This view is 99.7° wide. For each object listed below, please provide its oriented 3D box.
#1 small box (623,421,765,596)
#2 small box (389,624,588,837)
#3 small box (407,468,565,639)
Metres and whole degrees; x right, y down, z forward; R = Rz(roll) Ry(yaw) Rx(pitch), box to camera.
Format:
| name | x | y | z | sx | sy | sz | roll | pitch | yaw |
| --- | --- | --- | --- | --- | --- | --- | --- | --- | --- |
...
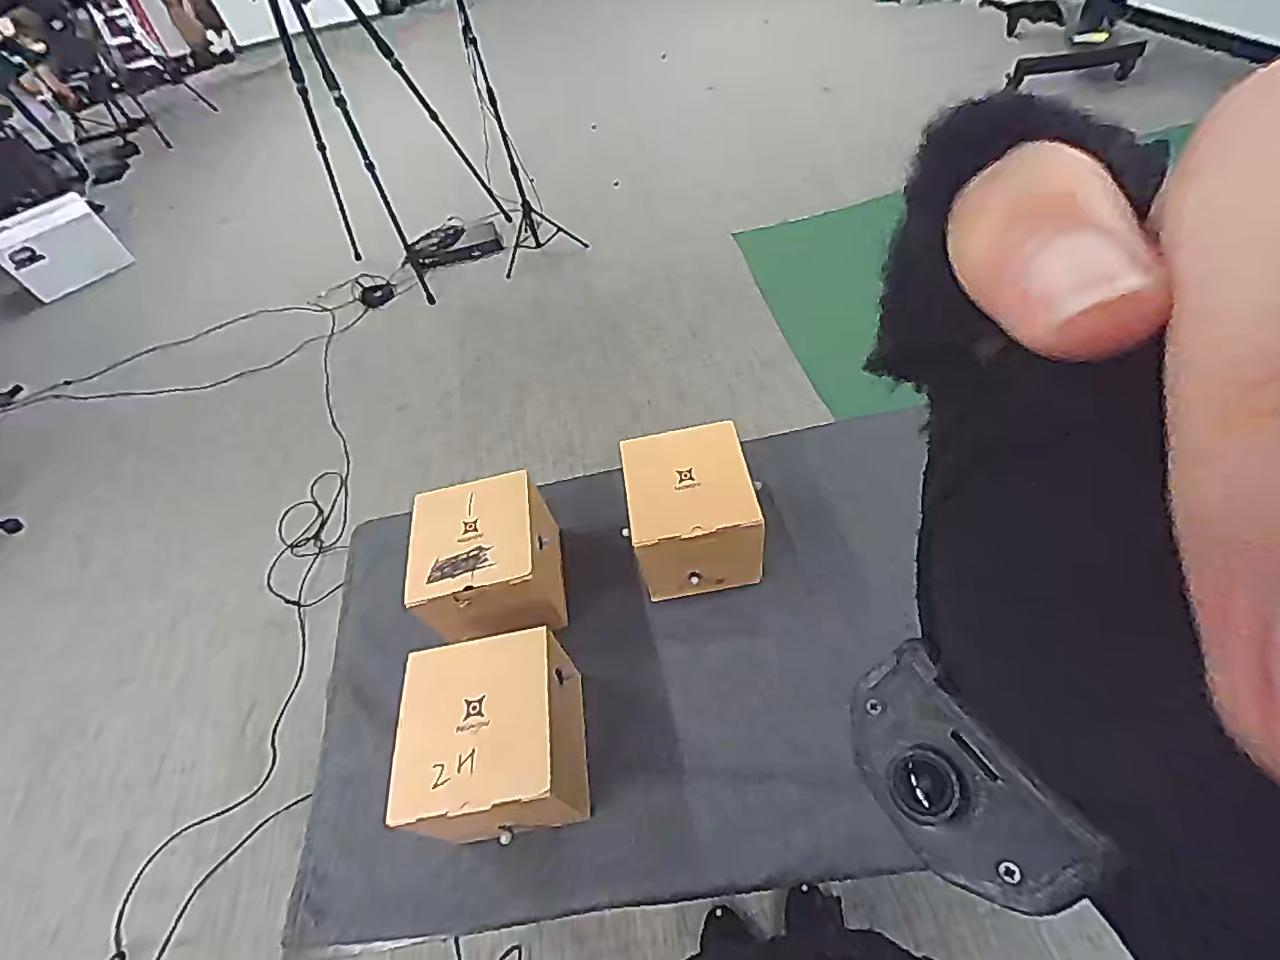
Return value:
| name | x | y | z | sx | sy | sz | roll | pitch | yaw |
| --- | --- | --- | --- | --- | --- | --- | --- | --- | --- |
| small box | 0.074 | 0.044 | 0.780 | 0.168 | 0.176 | 0.179 | -11 | 54 | 2 |
| small box | -0.162 | 0.295 | 0.632 | 0.168 | 0.176 | 0.179 | -12 | 51 | 2 |
| small box | -0.210 | 0.115 | 0.776 | 0.168 | 0.176 | 0.179 | -13 | 52 | 1 |
